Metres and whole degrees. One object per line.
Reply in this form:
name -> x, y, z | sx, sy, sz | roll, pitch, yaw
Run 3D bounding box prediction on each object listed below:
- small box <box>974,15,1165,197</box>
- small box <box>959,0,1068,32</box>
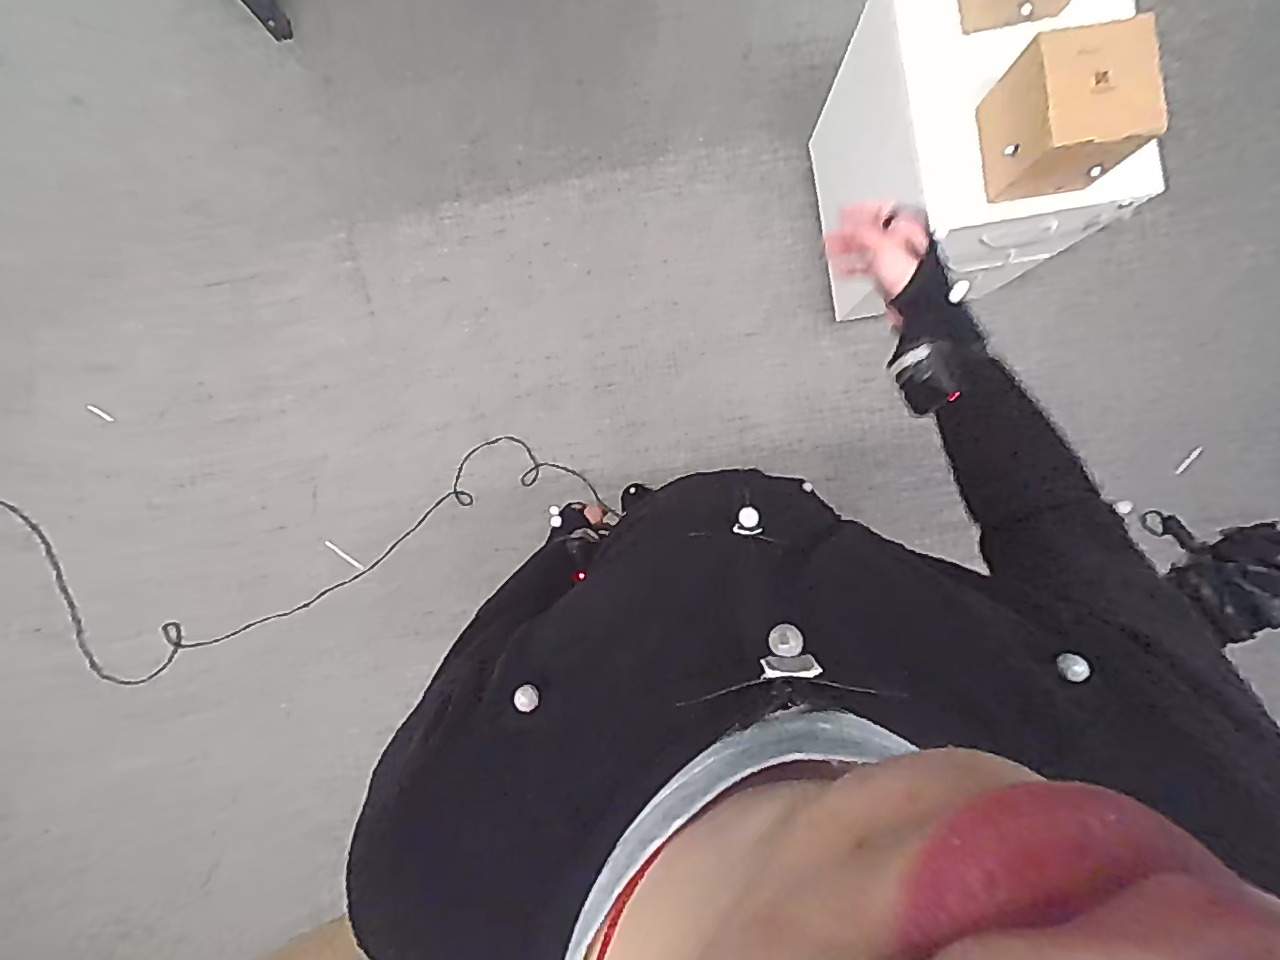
small box -> 0.671, -0.579, 0.865 | 0.168, 0.176, 0.179 | -8, 89, 1
small box -> 0.628, -0.875, 0.859 | 0.168, 0.176, 0.179 | -9, 93, 3
